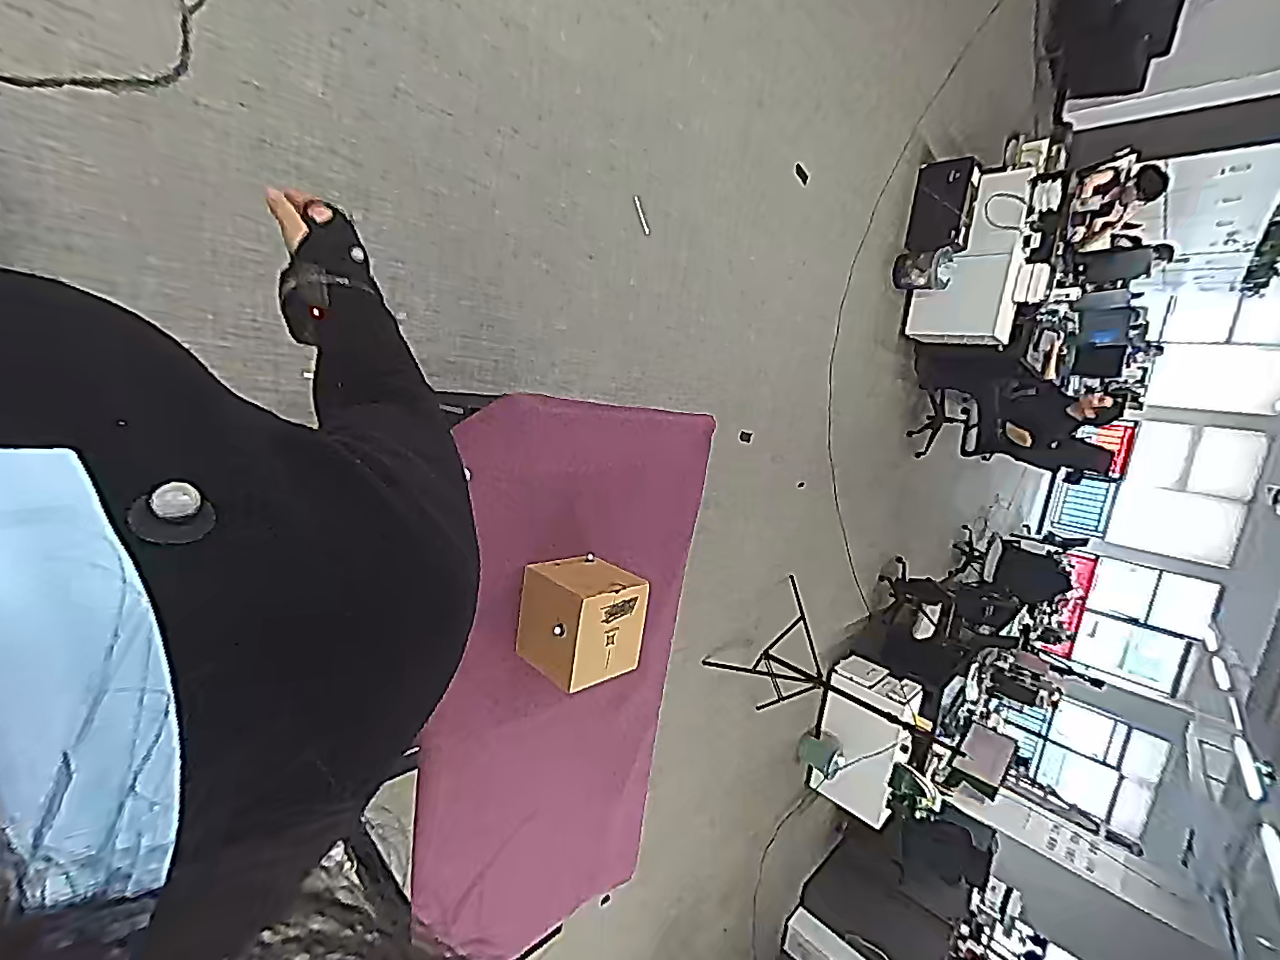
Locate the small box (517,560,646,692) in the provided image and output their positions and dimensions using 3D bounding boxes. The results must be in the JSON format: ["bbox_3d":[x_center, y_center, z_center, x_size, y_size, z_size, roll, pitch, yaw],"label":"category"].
[{"bbox_3d":[-0.113,0.257,1.010,0.168,0.176,0.179,-1,104,-46],"label":"small box"}]
